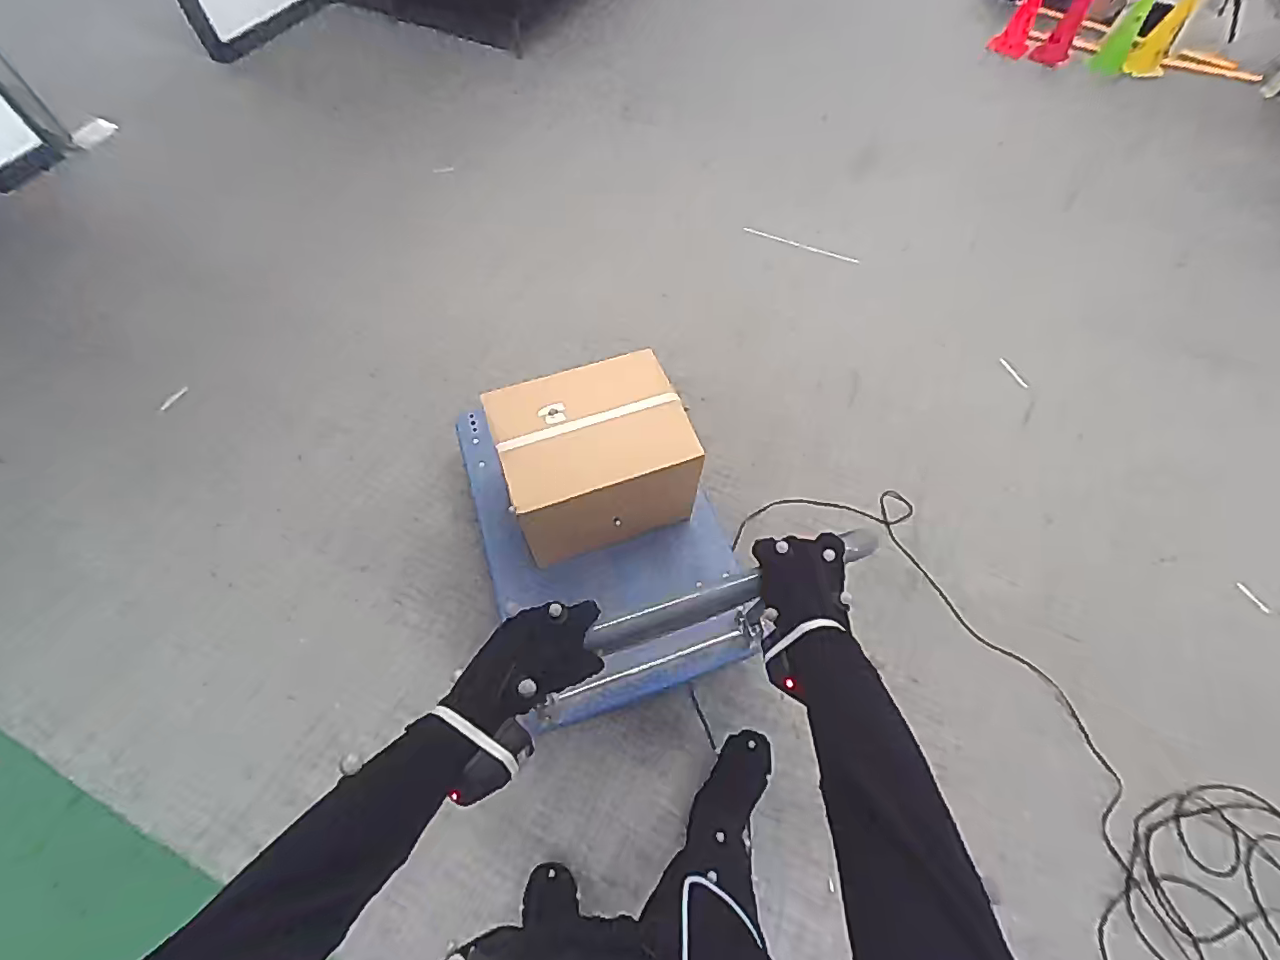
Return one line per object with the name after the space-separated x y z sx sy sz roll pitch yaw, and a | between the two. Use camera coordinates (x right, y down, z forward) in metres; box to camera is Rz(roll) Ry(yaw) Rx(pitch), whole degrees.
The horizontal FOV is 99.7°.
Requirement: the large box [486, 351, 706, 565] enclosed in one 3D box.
-0.101 -0.043 1.286 0.408 0.320 0.320 -19 63 -11 | large box
